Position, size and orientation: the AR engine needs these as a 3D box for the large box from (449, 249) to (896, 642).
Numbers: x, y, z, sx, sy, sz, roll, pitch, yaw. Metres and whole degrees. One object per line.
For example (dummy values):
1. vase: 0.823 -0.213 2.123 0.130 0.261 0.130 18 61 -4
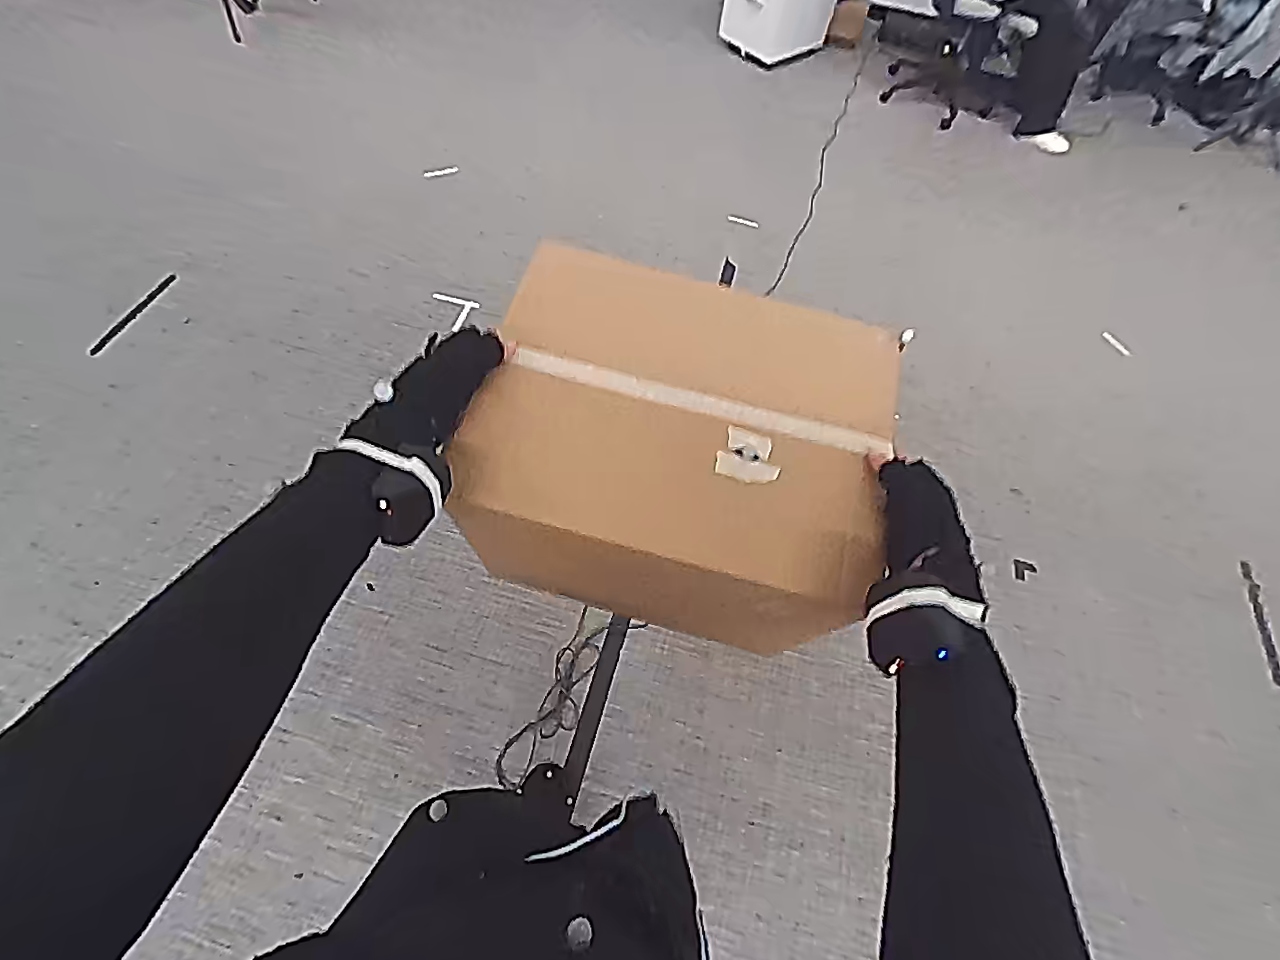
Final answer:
1. large box: 0.040 -0.018 0.676 0.408 0.320 0.320 16 67 2
